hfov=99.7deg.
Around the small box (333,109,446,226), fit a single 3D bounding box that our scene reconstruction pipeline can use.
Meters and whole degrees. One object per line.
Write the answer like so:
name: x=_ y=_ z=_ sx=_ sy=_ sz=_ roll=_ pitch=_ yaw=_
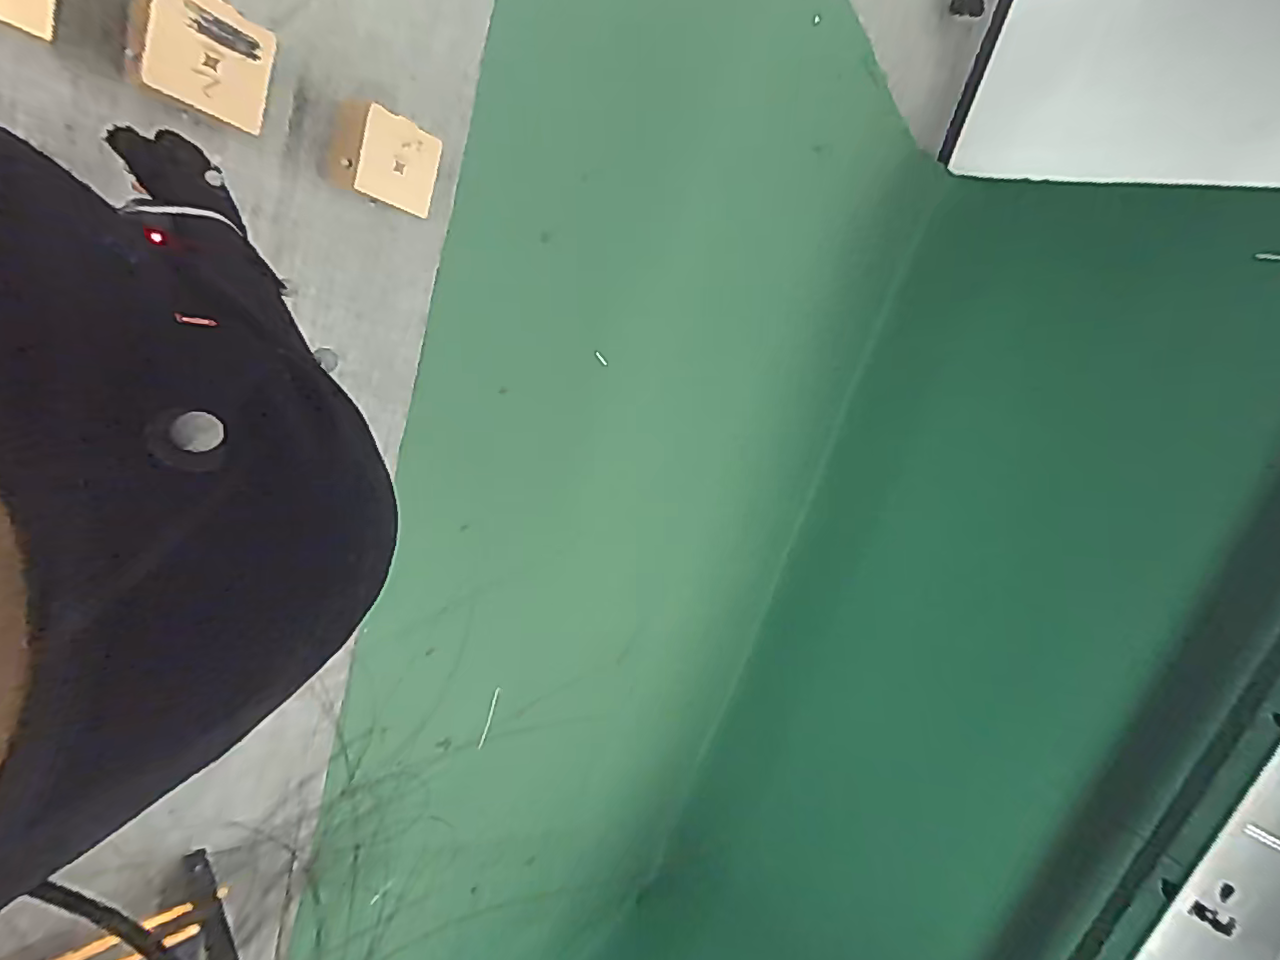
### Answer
small box: x=-0.574 y=-0.705 z=1.229 sx=0.168 sy=0.176 sz=0.179 roll=3 pitch=110 yaw=-51
